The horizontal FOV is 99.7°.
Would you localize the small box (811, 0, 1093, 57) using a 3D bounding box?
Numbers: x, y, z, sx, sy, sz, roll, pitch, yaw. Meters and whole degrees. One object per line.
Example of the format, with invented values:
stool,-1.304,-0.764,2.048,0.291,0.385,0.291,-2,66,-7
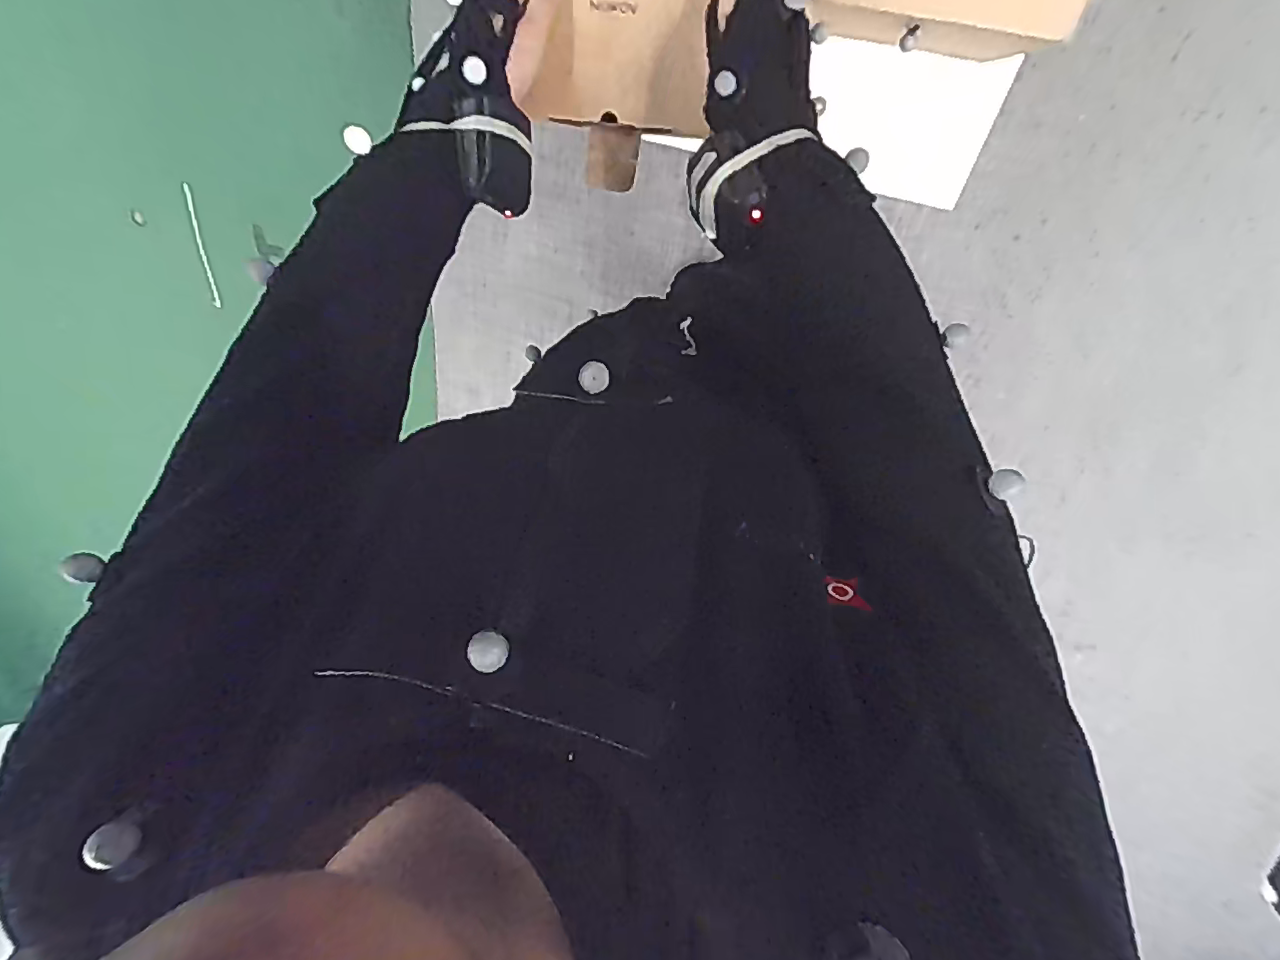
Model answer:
small box,0.229,-0.414,0.376,0.179,0.176,0.168,14,127,5
